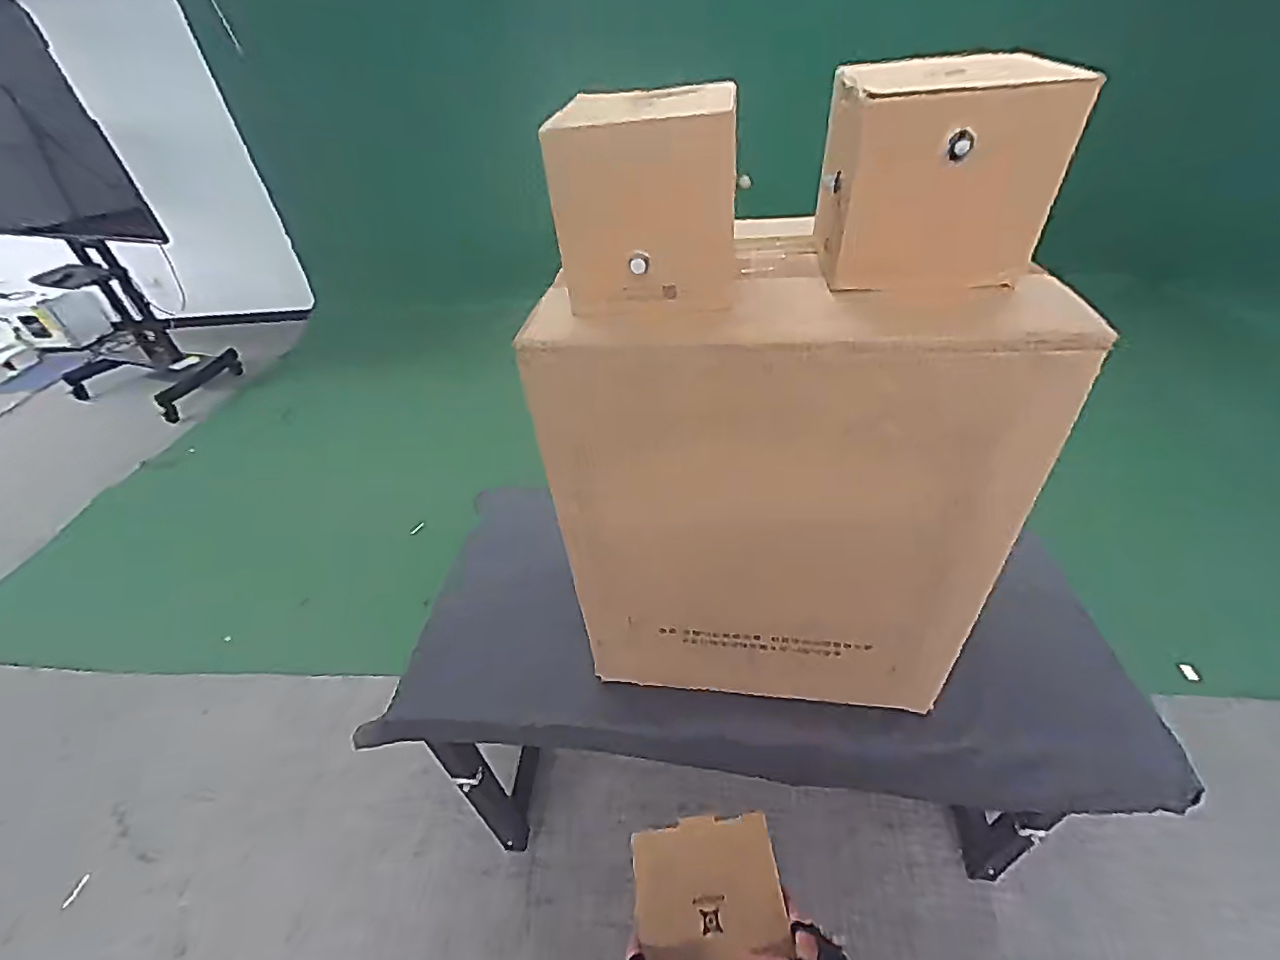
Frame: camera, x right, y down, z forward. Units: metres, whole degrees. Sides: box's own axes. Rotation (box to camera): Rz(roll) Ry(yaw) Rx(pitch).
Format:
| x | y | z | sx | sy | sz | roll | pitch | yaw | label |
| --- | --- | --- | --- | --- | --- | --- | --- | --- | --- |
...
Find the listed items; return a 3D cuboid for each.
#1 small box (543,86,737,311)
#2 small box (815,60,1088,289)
| x | y | z | sx | sy | sz | roll | pitch | yaw | label |
| --- | --- | --- | --- | --- | --- | --- | --- | --- | --- |
| 0.015 | -0.290 | 0.562 | 0.168 | 0.176 | 0.179 | 1 | 43 | 10 | small box |
| 0.279 | -0.303 | 0.541 | 0.179 | 0.176 | 0.168 | 3 | 43 | 7 | small box |
